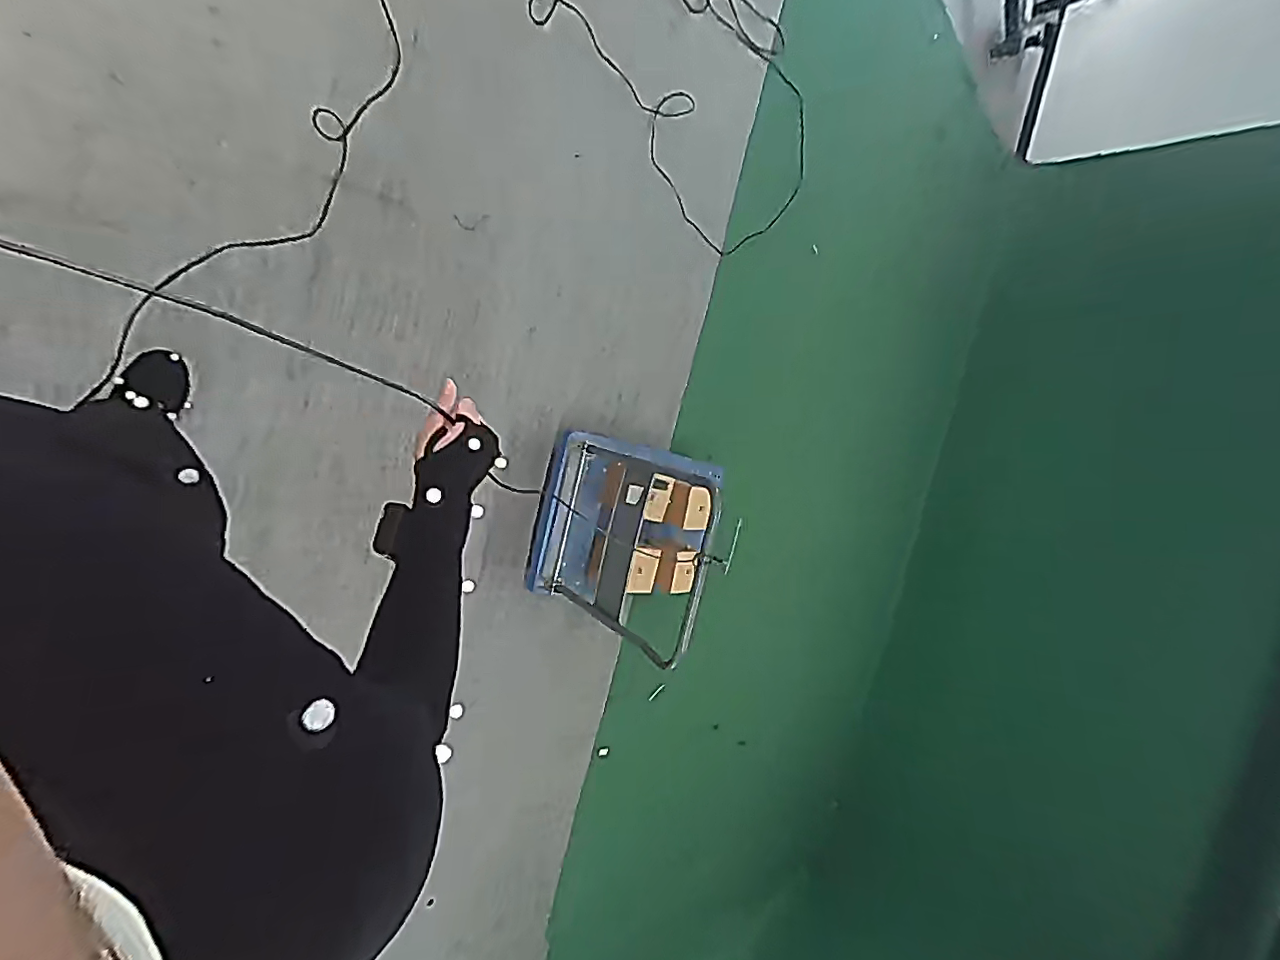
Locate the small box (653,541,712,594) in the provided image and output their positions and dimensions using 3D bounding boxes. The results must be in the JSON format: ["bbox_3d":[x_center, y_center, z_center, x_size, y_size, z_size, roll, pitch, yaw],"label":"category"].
[{"bbox_3d":[0.153,0.340,2.141,0.179,0.176,0.168,5,97,-42],"label":"small box"}]

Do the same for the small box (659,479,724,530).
[{"bbox_3d":[0.198,0.094,2.115,0.179,0.176,0.168,5,99,-43],"label":"small box"}]

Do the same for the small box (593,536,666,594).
[{"bbox_3d":[-0.041,0.305,1.956,0.179,0.176,0.168,12,94,-42],"label":"small box"}]
